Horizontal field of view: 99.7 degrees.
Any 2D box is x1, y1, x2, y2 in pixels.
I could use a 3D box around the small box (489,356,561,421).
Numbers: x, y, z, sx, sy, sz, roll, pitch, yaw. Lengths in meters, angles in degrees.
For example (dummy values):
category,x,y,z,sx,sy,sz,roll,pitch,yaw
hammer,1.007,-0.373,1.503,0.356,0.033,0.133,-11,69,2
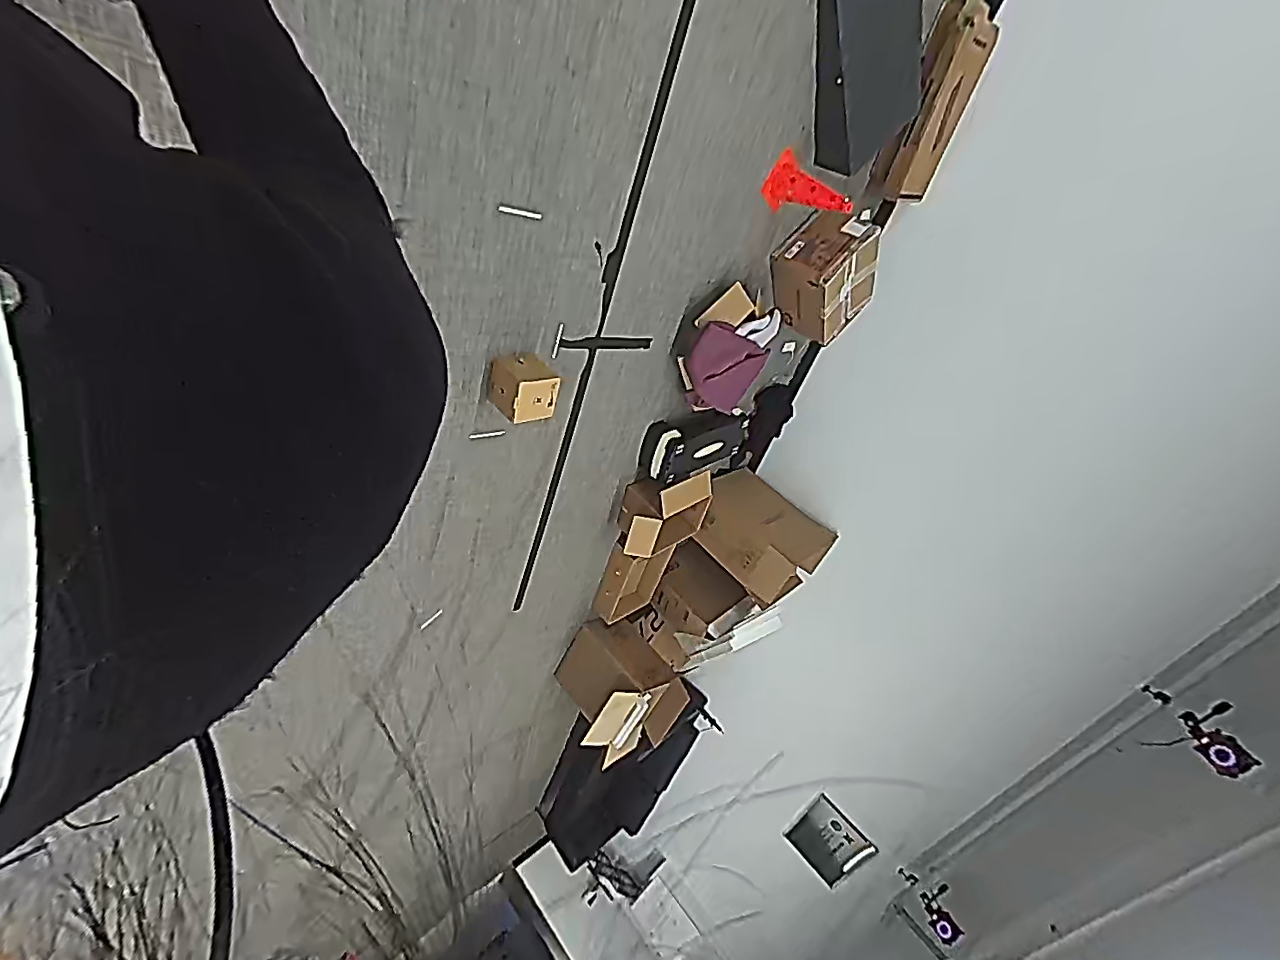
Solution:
category,x,y,z,sx,sy,sz,roll,pitch,yaw
small box,-0.414,-0.330,1.924,0.179,0.176,0.168,-17,138,-43
